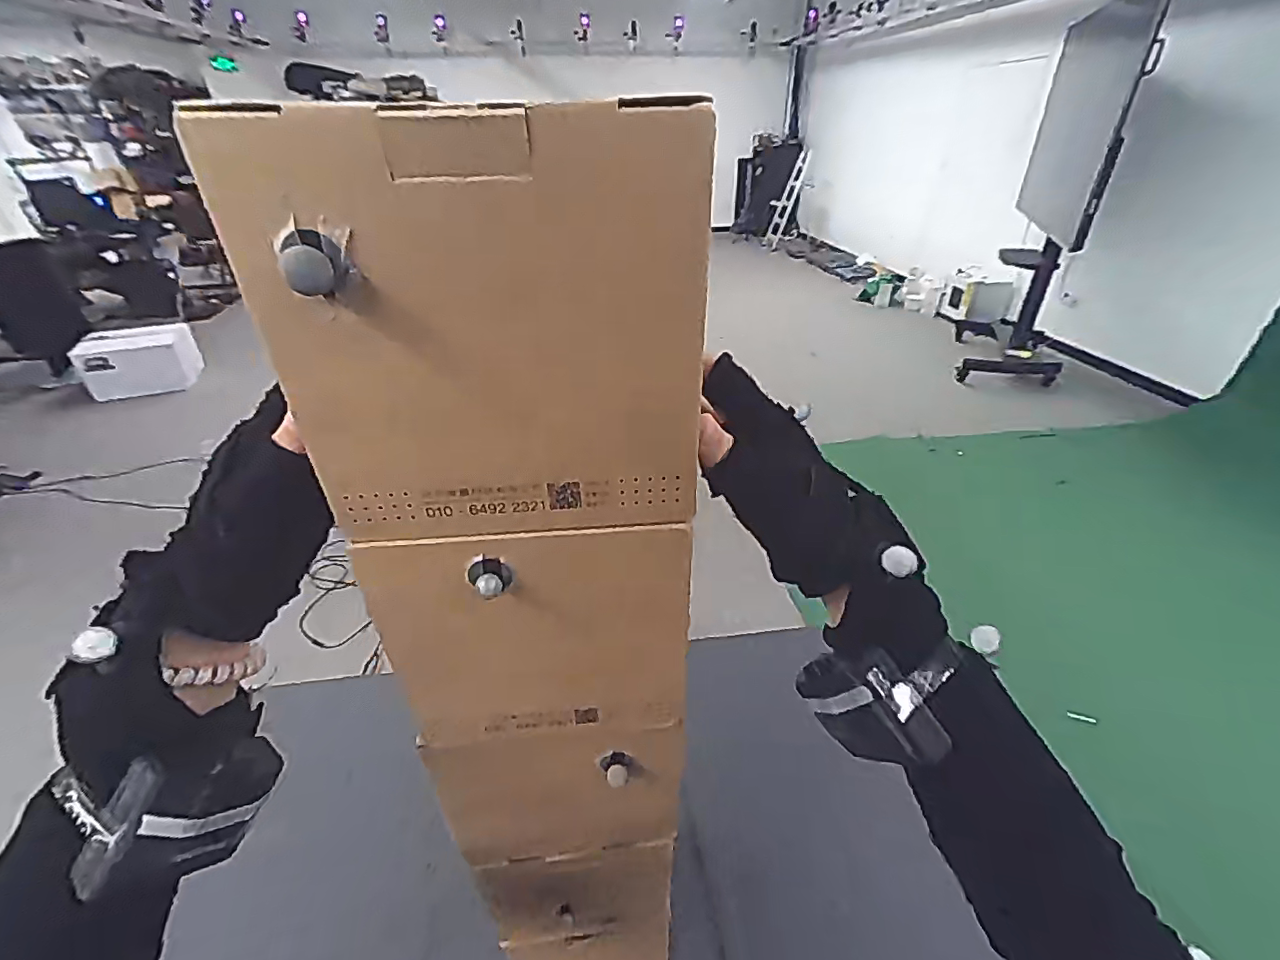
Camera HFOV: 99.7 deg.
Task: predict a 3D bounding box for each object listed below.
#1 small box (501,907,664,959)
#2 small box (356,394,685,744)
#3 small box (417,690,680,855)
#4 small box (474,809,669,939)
[{"bbox_3d":[-0.064,0.462,0.648,0.168,0.176,0.179,-5,32,-6],"label":"small box"},{"bbox_3d":[-0.065,0.052,0.379,0.168,0.176,0.179,-3,33,-4],"label":"small box"},{"bbox_3d":[-0.066,0.190,0.467,0.179,0.176,0.168,-5,33,-4],"label":"small box"},{"bbox_3d":[-0.066,0.326,0.559,0.168,0.176,0.179,-5,33,-6],"label":"small box"}]
